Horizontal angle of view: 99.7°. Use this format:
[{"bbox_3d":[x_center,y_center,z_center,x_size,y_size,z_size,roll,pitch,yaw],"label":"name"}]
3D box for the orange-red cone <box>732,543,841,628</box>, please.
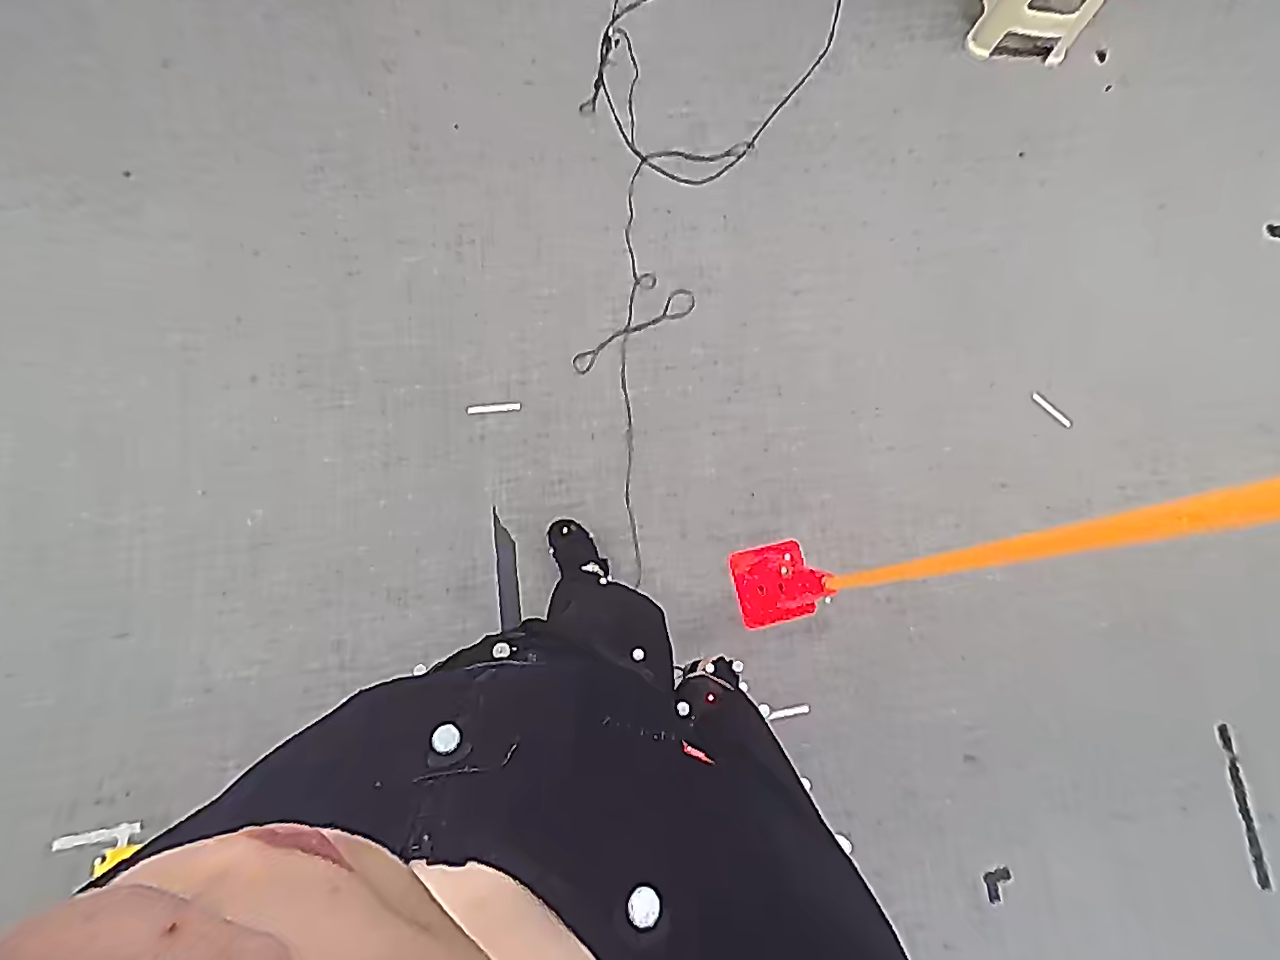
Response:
[{"bbox_3d":[0.361,0.237,1.230,0.199,0.360,0.198,-11,80,-6],"label":"orange-red cone"}]
